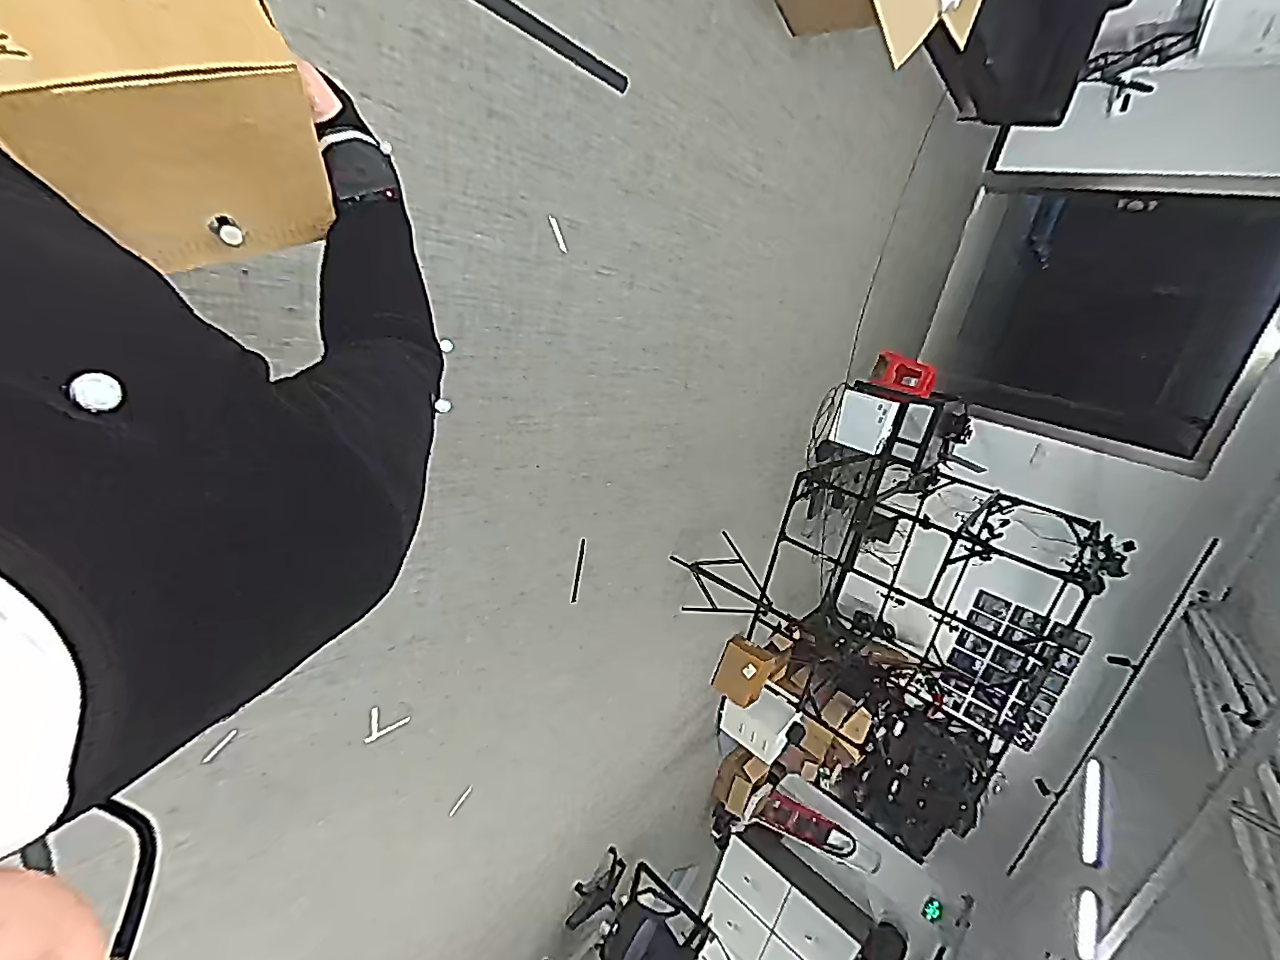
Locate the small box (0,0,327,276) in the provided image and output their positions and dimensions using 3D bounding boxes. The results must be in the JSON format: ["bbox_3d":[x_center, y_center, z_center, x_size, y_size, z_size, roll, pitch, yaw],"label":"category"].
[{"bbox_3d":[-0.373,-0.294,0.426,0.179,0.168,0.176,-27,174,-25],"label":"small box"}]
